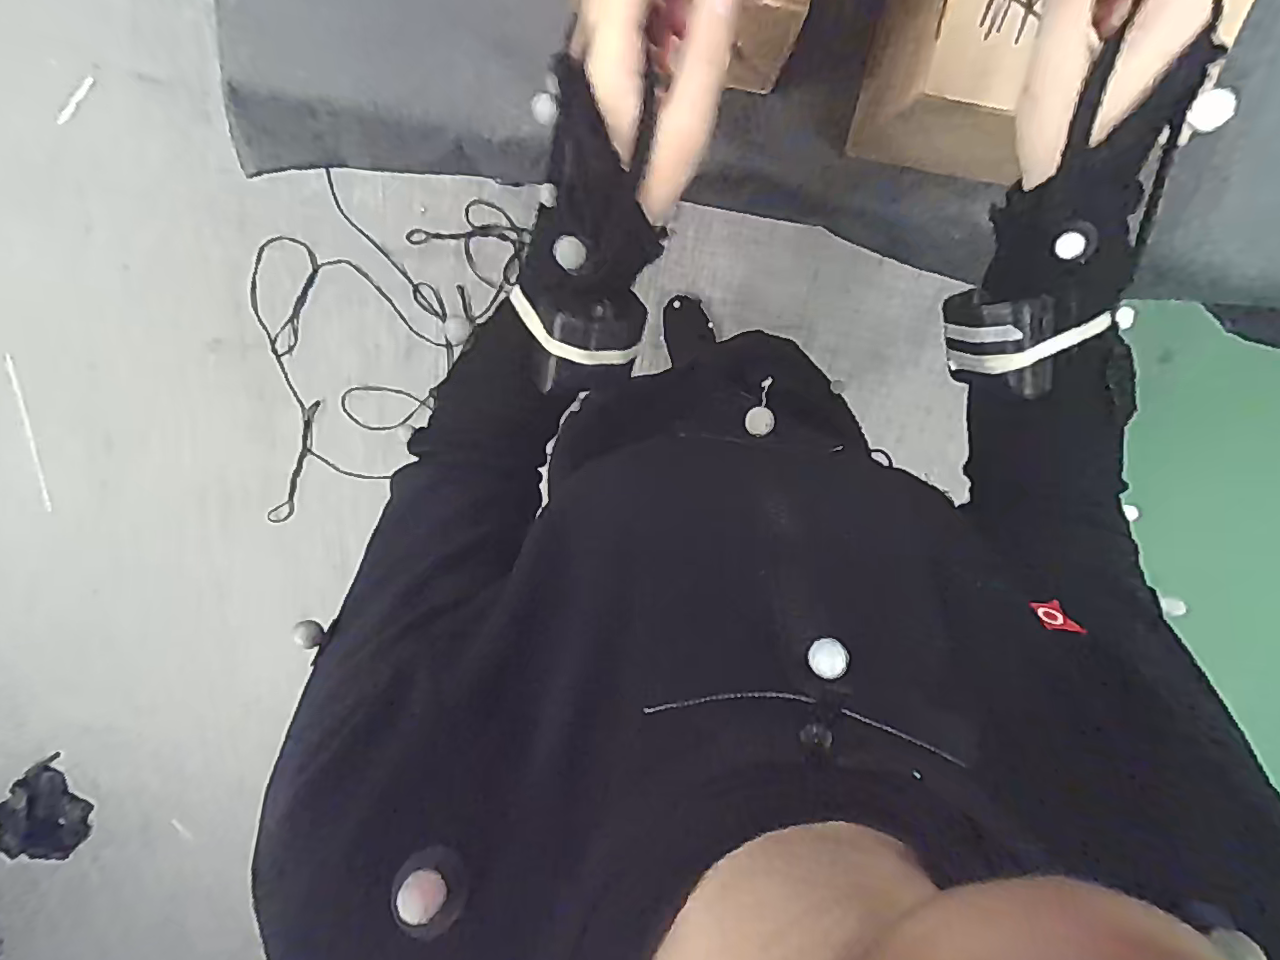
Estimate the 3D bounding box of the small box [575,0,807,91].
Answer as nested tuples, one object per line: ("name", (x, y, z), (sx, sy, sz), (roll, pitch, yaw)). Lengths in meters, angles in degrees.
("small box", (0.048, -0.413, 0.383), (0.168, 0.176, 0.179), (11, 109, 0))
